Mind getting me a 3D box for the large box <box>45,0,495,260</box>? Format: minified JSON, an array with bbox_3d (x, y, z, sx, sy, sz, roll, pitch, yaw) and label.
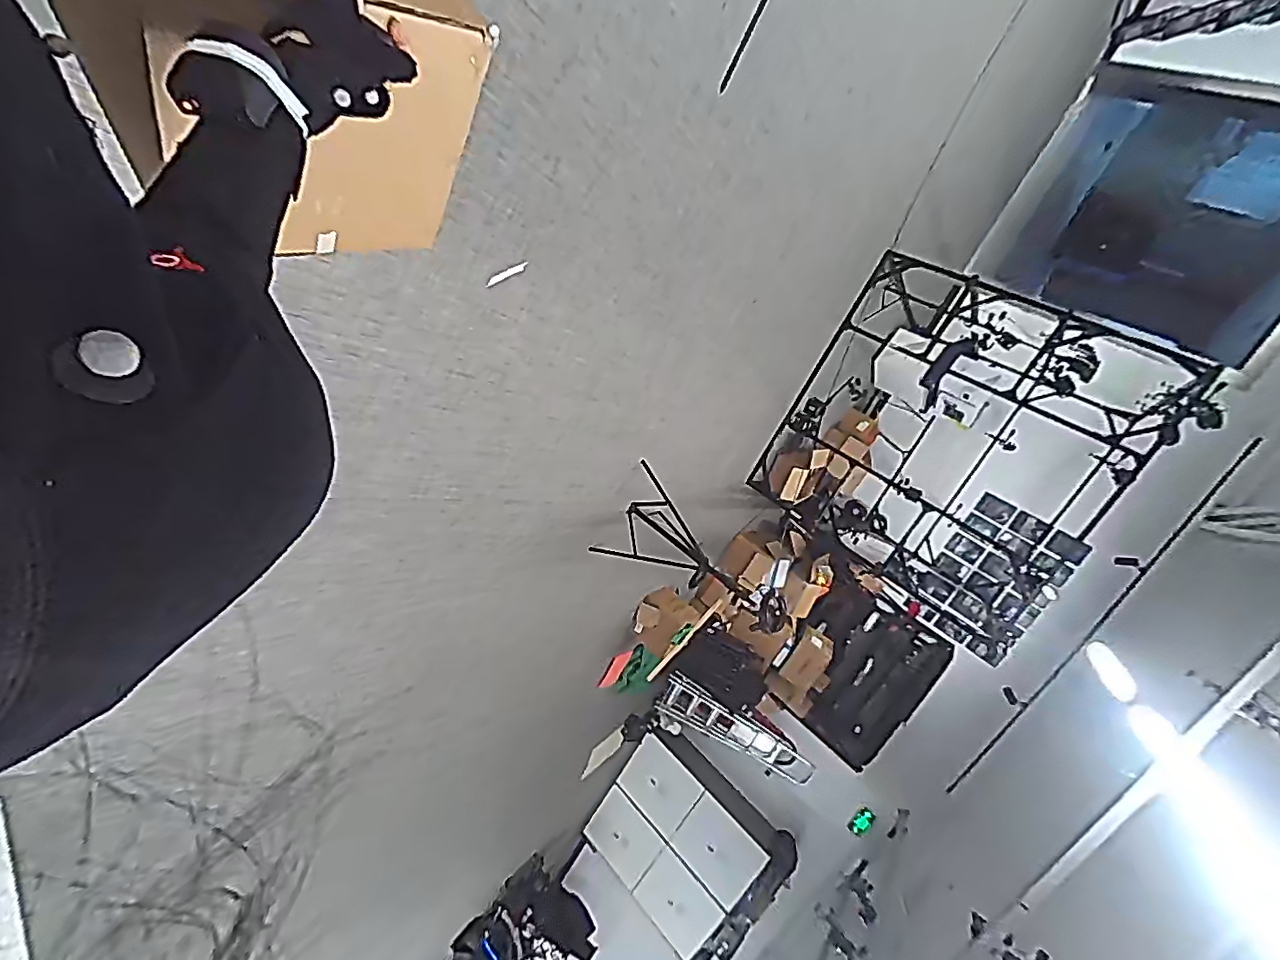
[{"bbox_3d":[-0.445,-0.532,0.633,0.320,0.408,0.320,-27,173,-40],"label":"large box"}]
